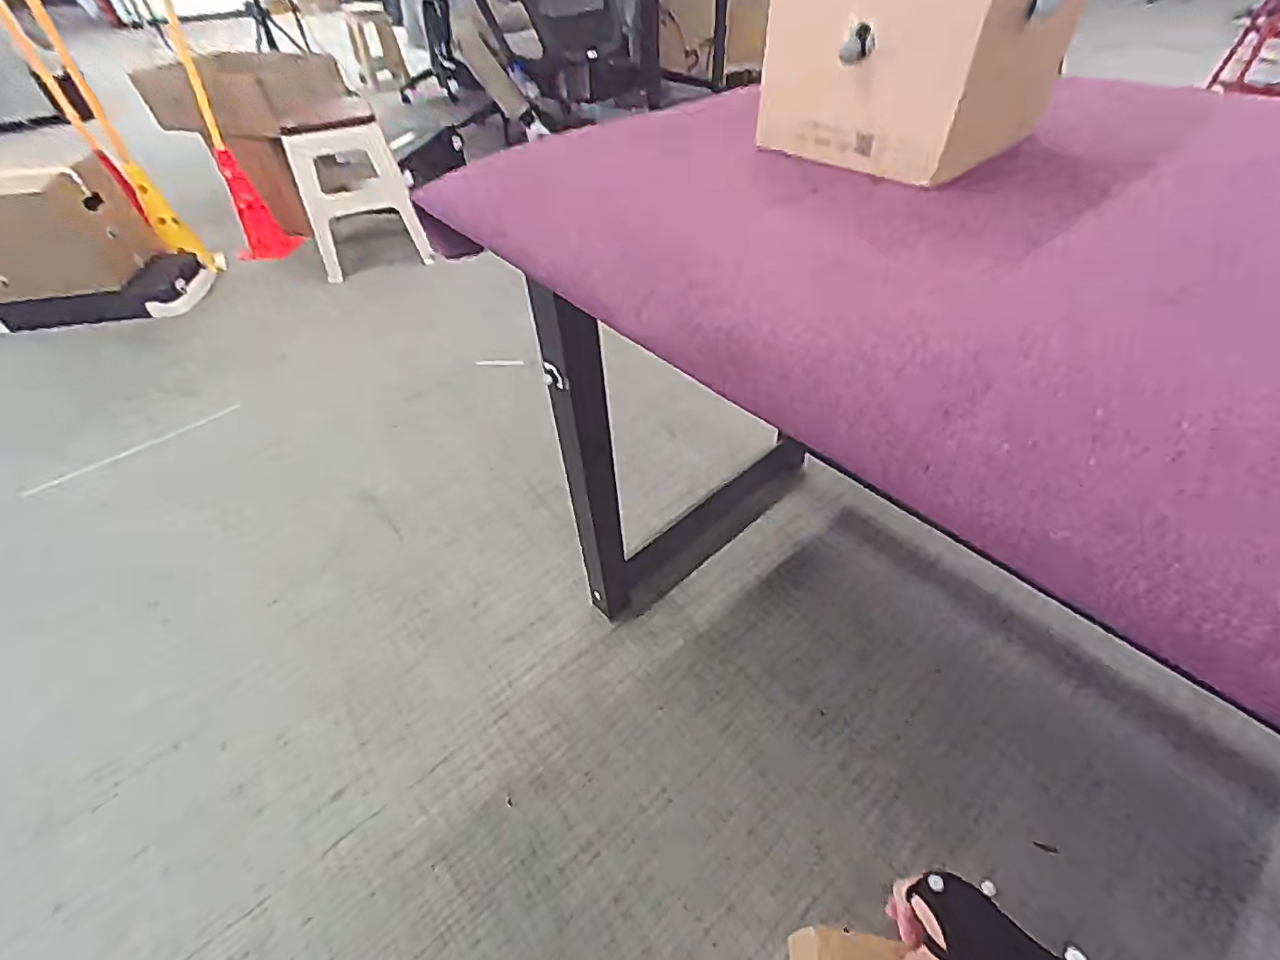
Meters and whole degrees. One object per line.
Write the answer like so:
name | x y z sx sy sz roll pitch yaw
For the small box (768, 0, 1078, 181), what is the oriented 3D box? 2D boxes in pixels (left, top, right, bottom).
small box | 0.215 -0.350 0.411 0.179 0.176 0.168 -35 54 -26

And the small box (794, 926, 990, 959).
small box | 0.252 0.569 0.532 0.168 0.176 0.179 2 47 7
